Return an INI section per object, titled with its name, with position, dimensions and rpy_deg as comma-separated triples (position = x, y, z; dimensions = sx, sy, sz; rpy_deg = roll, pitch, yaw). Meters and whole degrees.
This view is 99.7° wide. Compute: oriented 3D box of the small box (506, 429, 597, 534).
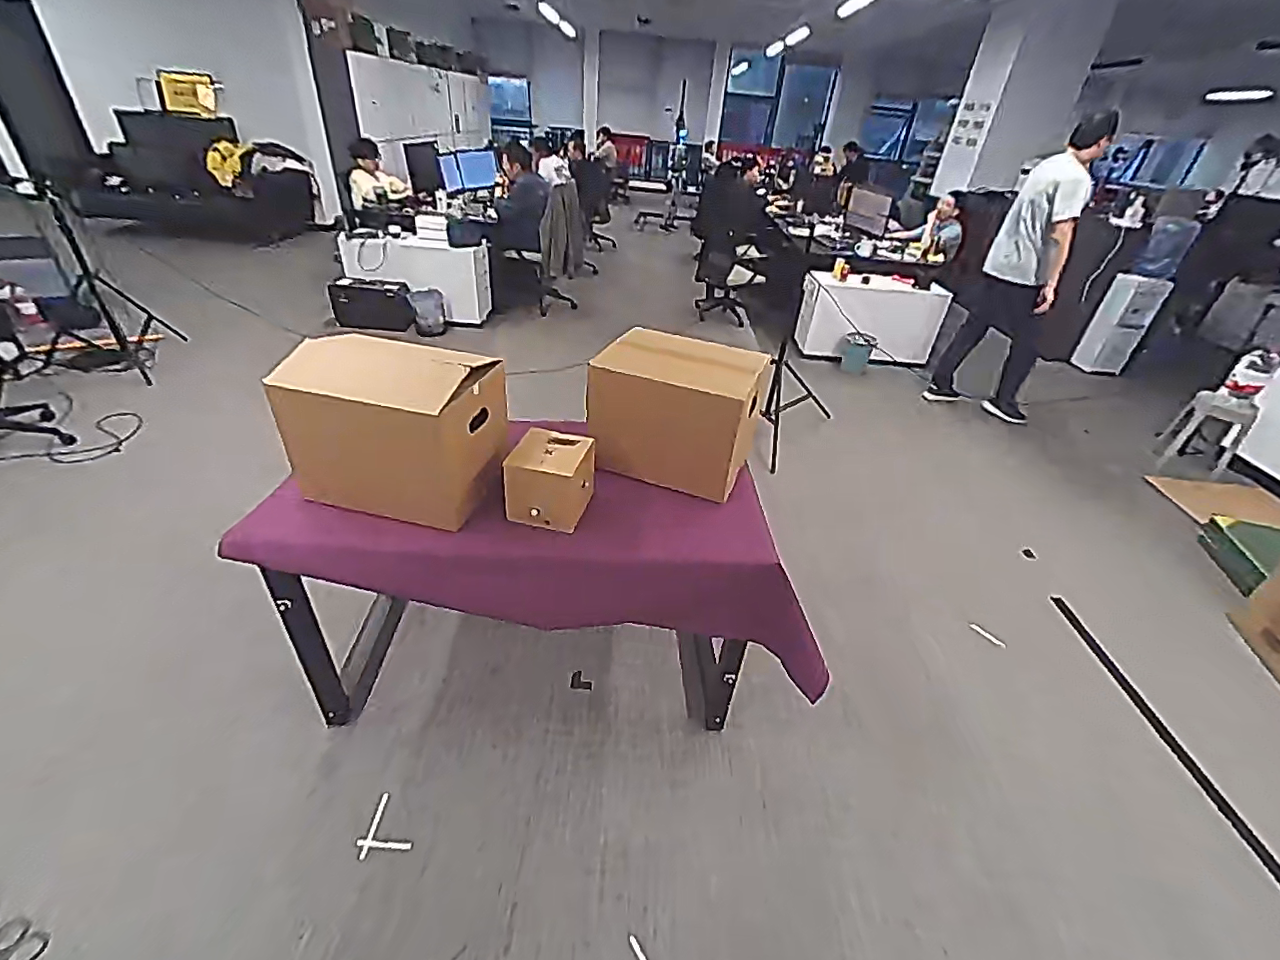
[small box]
position = -0.211, 0.002, 1.307
dimensions = 0.168, 0.176, 0.179
rpy_deg = 11, 35, 8
